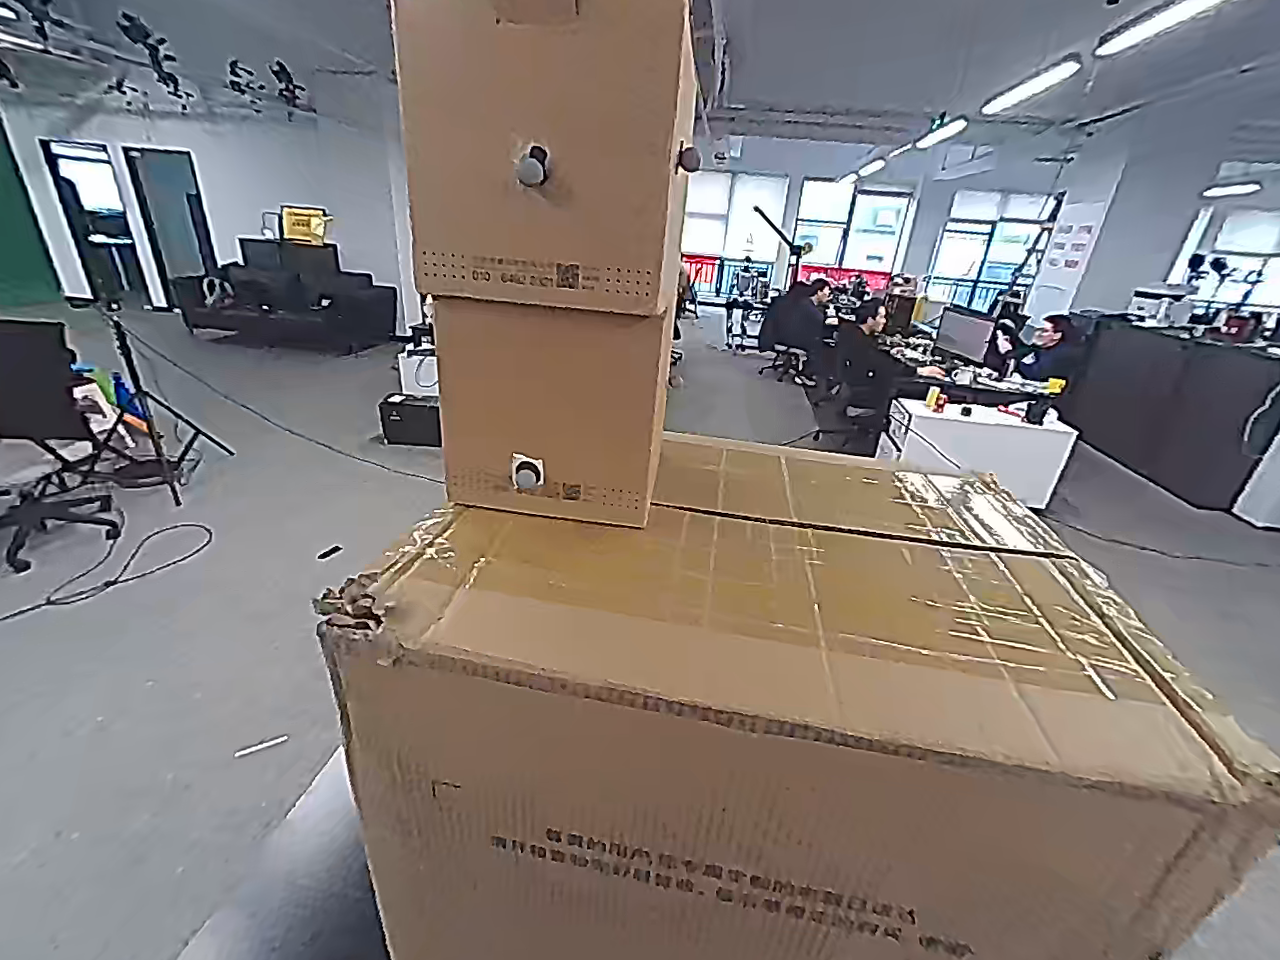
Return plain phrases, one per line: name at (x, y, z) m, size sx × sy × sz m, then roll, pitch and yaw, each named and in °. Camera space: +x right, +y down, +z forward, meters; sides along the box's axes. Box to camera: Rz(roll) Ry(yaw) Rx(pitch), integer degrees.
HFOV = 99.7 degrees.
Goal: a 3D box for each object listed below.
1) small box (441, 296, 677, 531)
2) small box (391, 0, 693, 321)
small box at (-0.059, -0.075, 0.482) m, size 0.168 × 0.176 × 0.179 m, roll 5°, pitch 25°, yaw 3°
small box at (-0.052, -0.218, 0.401) m, size 0.168 × 0.176 × 0.179 m, roll 6°, pitch 25°, yaw 4°
